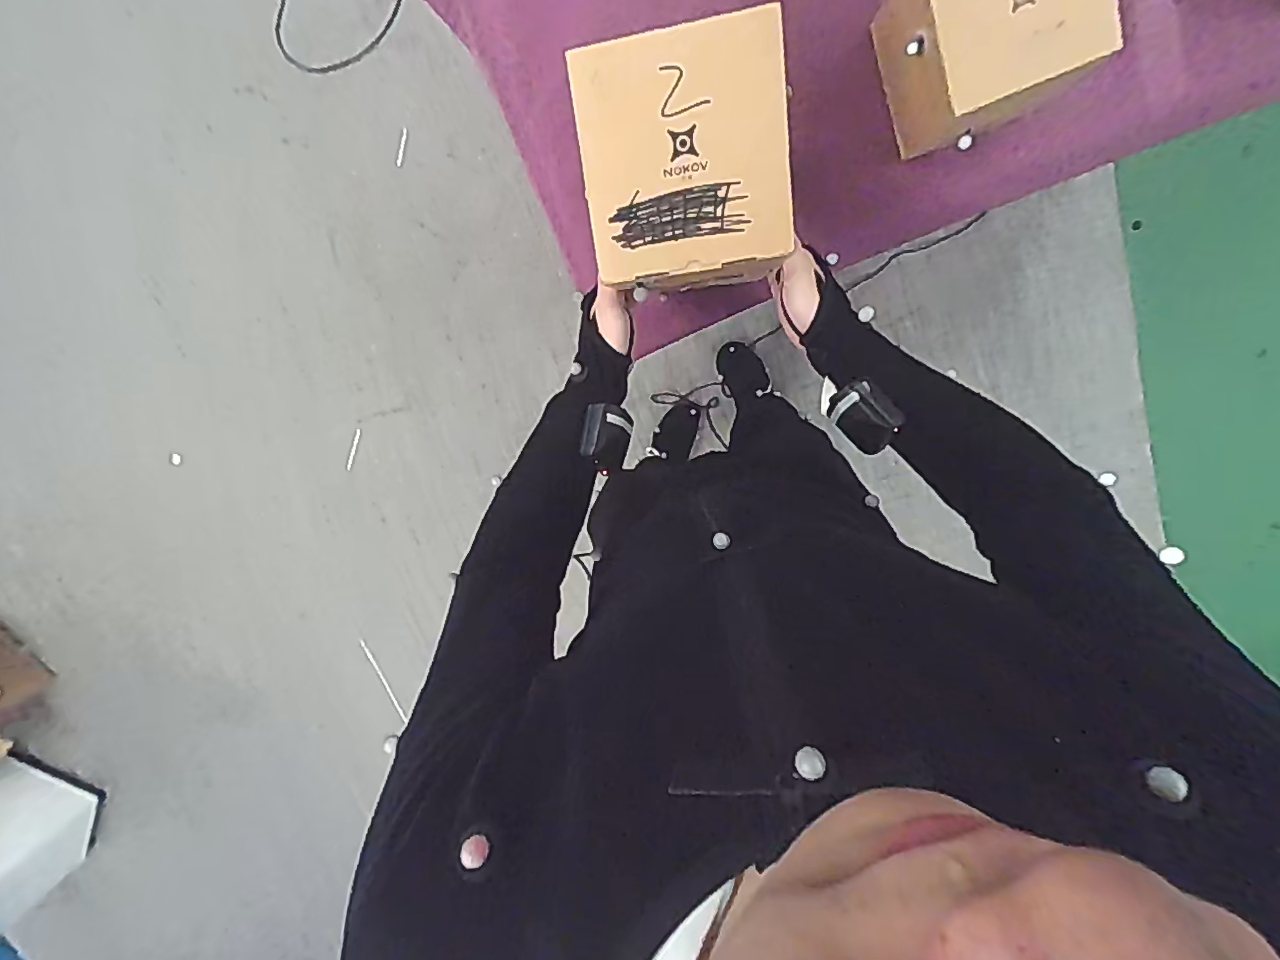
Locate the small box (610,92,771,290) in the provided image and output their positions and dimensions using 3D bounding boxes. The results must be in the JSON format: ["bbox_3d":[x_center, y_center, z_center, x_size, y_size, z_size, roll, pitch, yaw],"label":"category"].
[{"bbox_3d":[0.067,-0.330,0.658,0.168,0.176,0.179,-4,106,8],"label":"small box"}]
